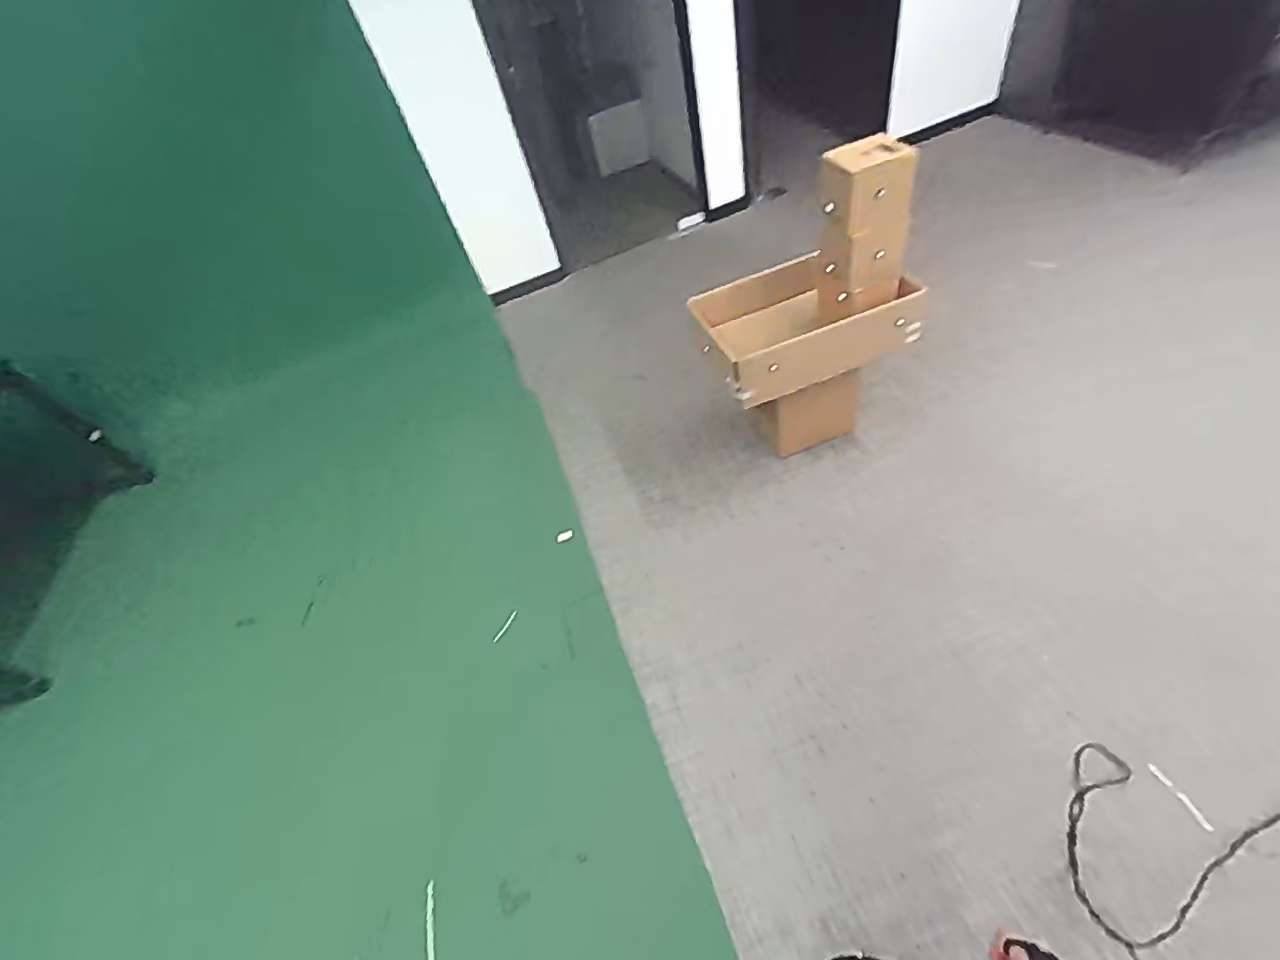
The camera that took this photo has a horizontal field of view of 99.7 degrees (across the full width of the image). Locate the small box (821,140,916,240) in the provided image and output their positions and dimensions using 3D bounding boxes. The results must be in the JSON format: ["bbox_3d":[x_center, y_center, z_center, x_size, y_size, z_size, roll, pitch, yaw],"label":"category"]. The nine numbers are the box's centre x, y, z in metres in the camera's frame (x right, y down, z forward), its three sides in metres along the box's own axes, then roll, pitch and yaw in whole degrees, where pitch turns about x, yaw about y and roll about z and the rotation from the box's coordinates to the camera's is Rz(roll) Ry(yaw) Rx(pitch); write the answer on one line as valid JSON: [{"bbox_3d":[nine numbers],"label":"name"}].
[{"bbox_3d":[0.607,-0.784,1.464,0.179,0.176,0.168,-19,47,-1],"label":"small box"}]
